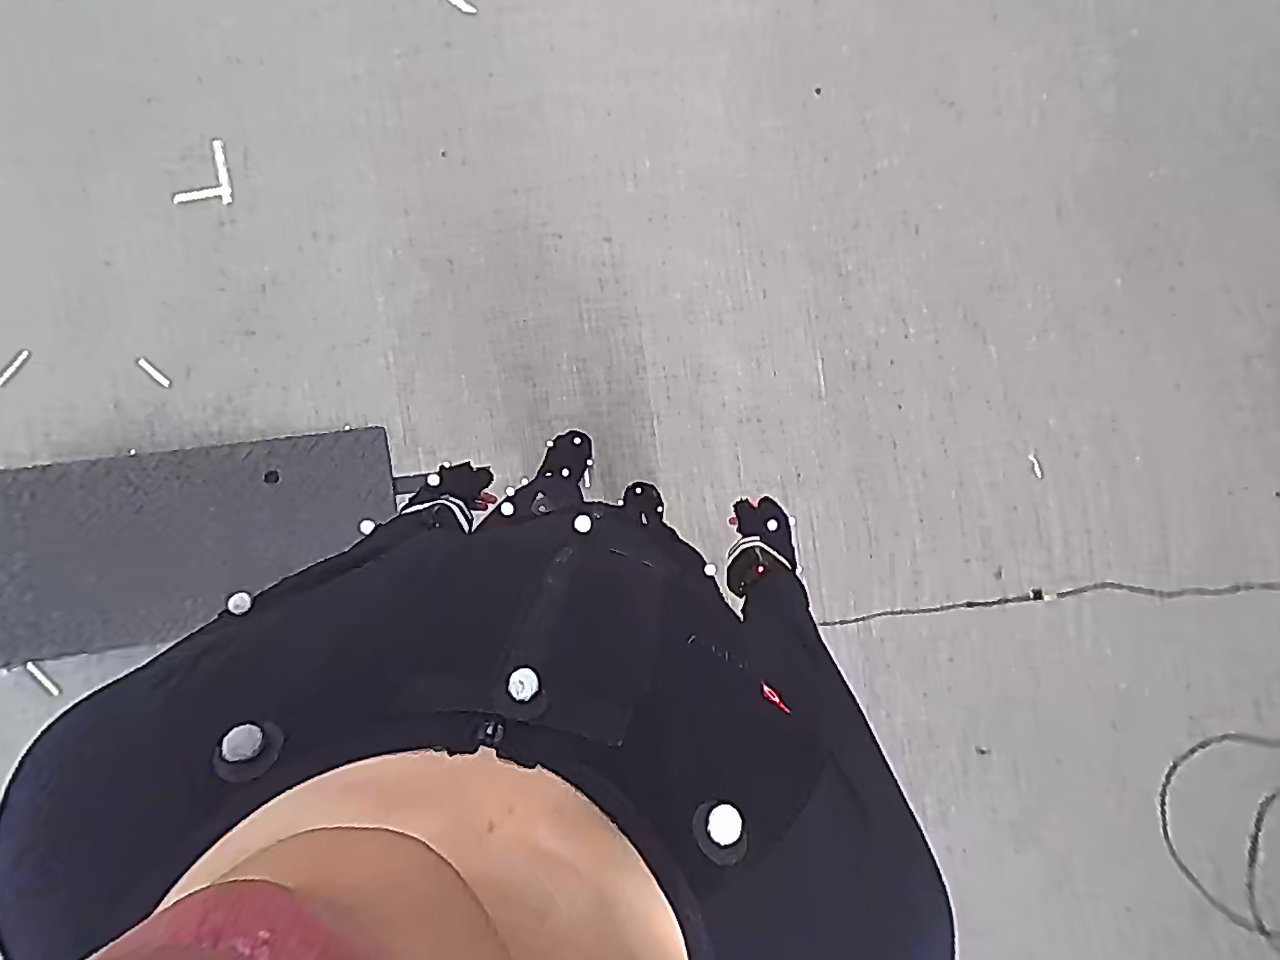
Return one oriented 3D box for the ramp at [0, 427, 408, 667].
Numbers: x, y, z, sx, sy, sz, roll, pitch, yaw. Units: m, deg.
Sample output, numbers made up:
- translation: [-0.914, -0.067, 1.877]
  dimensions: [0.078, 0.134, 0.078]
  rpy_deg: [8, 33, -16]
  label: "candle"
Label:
- translation: [-1.158, 0.156, 1.409]
  dimensions: [0.991, 0.206, 0.509]
  rpy_deg: [-9, 90, 0]
  label: "ramp"
